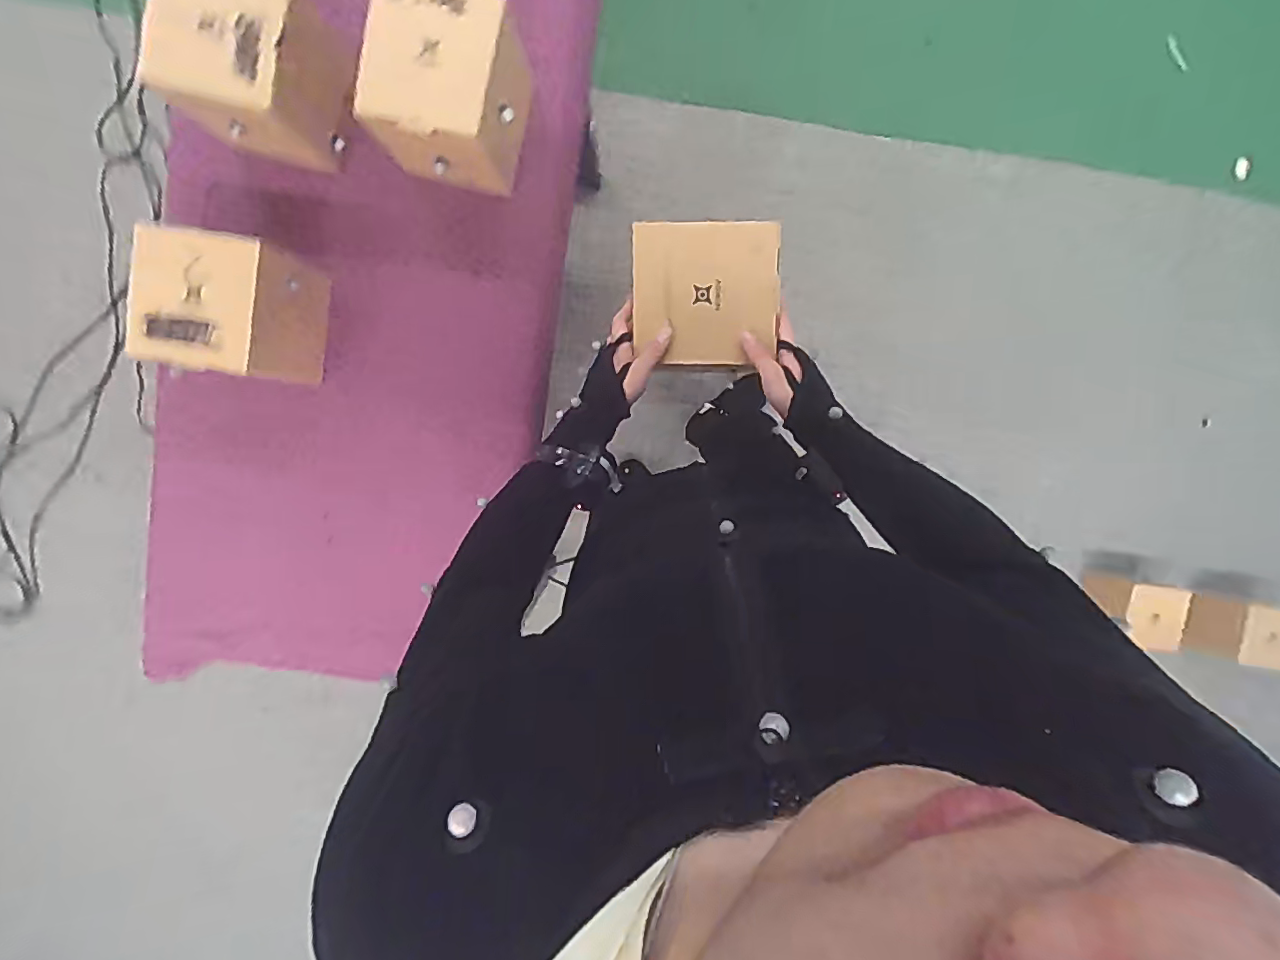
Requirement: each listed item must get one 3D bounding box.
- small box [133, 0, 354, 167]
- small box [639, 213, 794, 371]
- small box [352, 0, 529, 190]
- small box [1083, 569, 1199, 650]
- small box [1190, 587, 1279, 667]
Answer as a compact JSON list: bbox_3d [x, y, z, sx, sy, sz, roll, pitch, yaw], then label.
[{"bbox_3d":[-0.534,-0.570,0.753,0.179,0.176,0.168,14,95,0],"label":"small box"},{"bbox_3d":[0.089,-0.234,0.710,0.179,0.176,0.168,2,97,2],"label":"small box"},{"bbox_3d":[-0.265,-0.538,0.753,0.168,0.176,0.179,13,96,0],"label":"small box"},{"bbox_3d":[1.425,0.364,1.550,0.168,0.176,0.179,7,96,-1],"label":"small box"},{"bbox_3d":[1.746,0.418,1.550,0.168,0.176,0.179,8,95,0],"label":"small box"}]
